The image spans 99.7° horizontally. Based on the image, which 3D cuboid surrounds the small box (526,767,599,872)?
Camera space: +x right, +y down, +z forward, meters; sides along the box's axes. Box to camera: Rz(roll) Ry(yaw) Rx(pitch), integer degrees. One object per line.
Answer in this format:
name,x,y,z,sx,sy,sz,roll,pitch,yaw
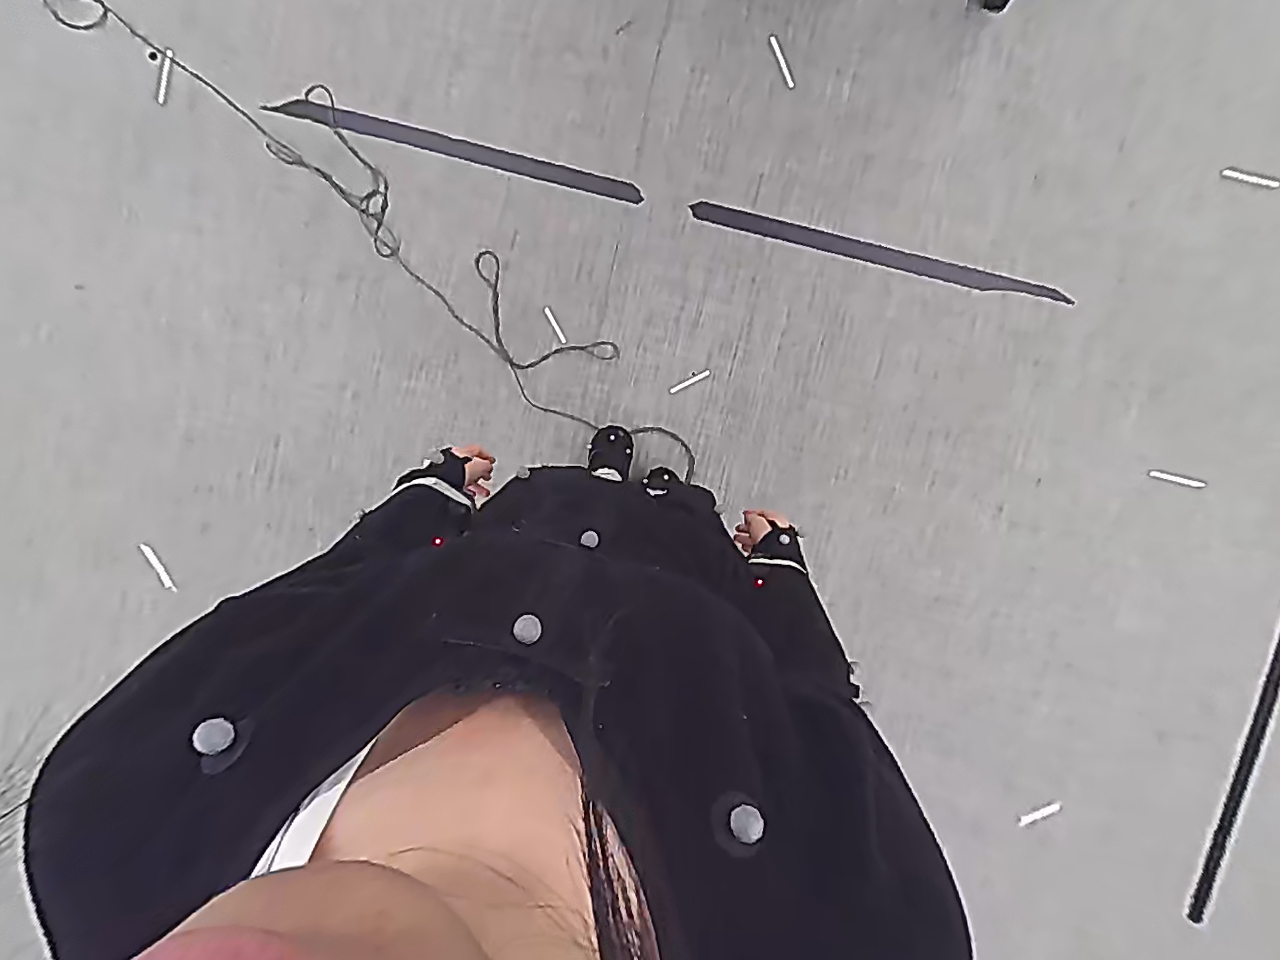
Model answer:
small box,-0.204,0.907,1.460,0.168,0.176,0.179,6,93,0
